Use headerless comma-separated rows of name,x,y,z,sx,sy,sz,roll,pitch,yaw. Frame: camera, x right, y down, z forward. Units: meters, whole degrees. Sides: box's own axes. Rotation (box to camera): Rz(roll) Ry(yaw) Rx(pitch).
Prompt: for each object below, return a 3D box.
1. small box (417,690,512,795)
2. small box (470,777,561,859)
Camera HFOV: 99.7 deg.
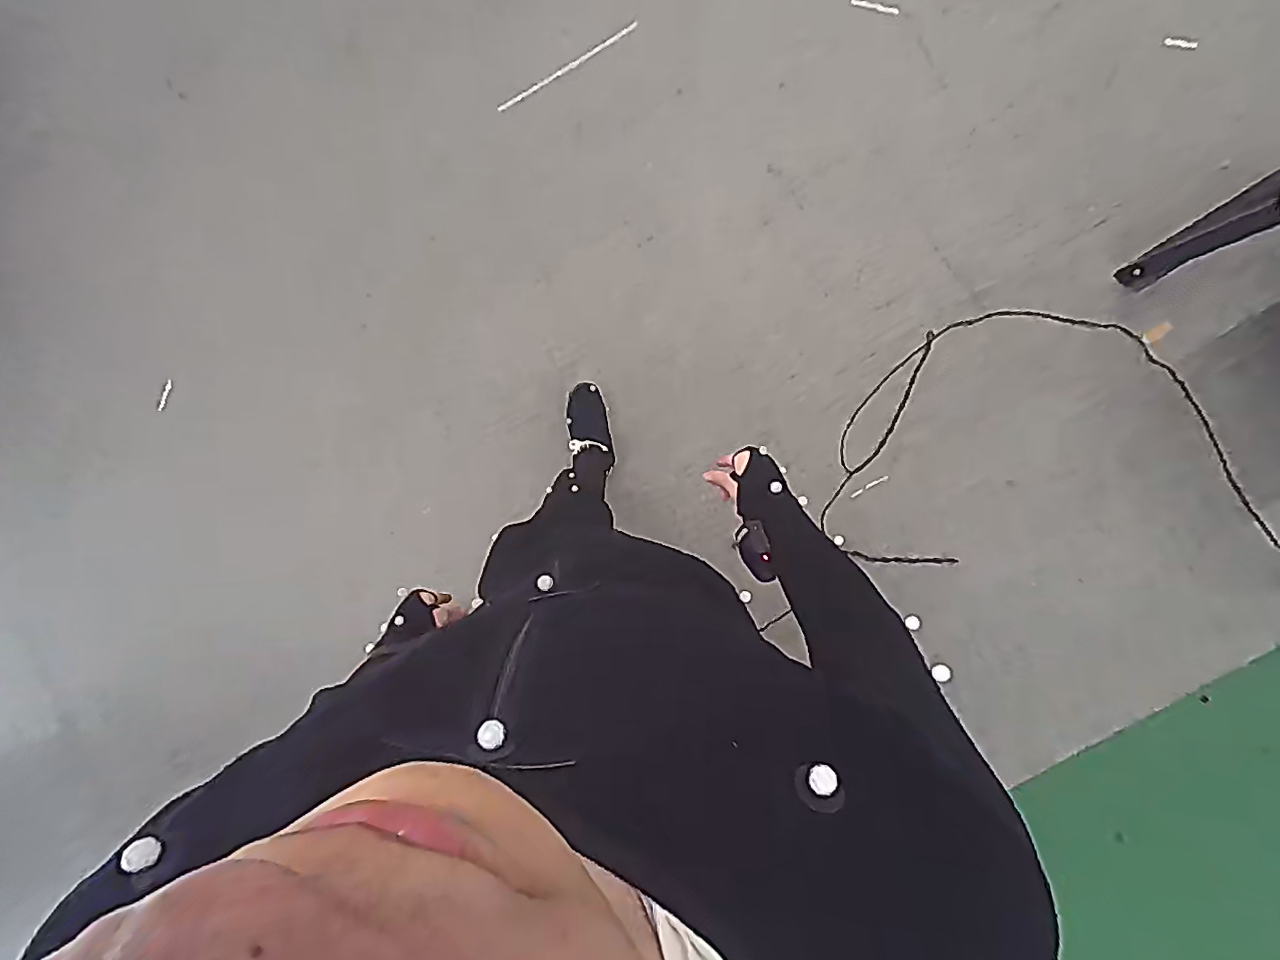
small box,-0.470,0.711,1.485,0.179,0.176,0.168,-27,90,1
small box,-0.332,0.961,1.486,0.179,0.176,0.168,-29,89,2
